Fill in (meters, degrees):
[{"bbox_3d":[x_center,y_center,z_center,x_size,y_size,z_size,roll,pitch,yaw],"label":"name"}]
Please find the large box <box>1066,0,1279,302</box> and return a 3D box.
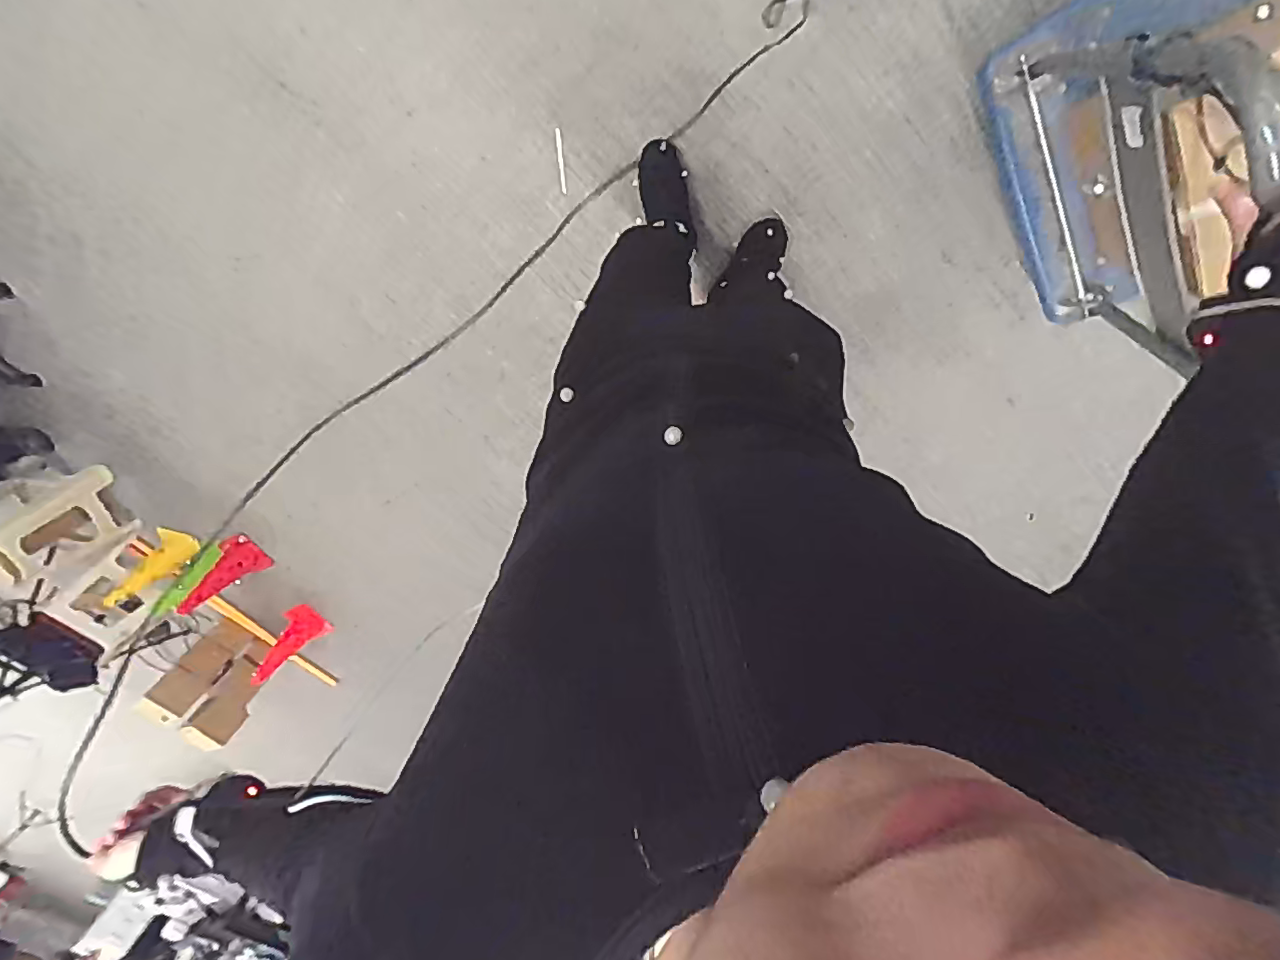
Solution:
[{"bbox_3d":[1.006,-0.554,0.853,0.408,0.320,0.320,-25,116,24],"label":"large box"}]
